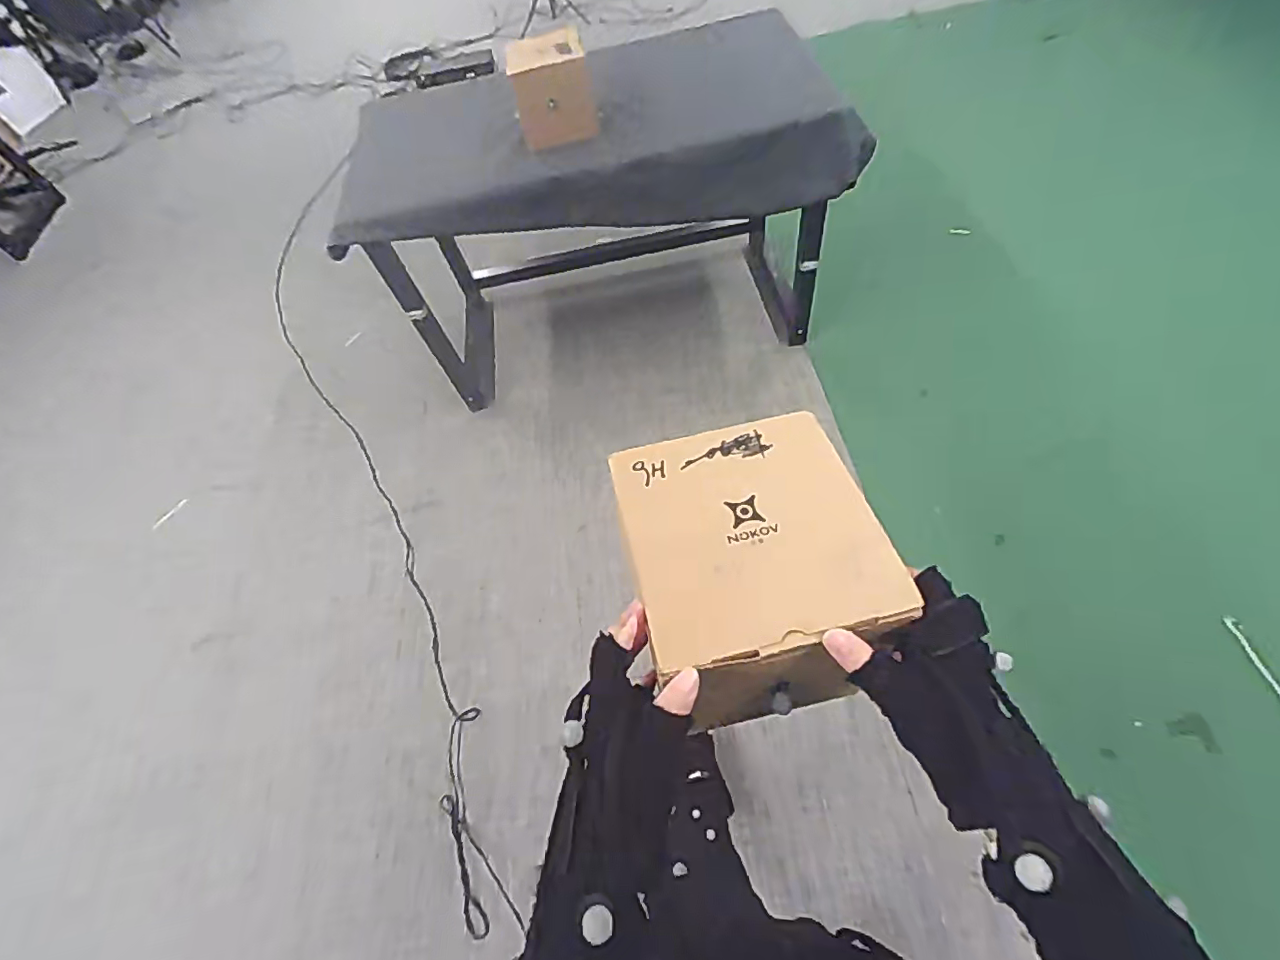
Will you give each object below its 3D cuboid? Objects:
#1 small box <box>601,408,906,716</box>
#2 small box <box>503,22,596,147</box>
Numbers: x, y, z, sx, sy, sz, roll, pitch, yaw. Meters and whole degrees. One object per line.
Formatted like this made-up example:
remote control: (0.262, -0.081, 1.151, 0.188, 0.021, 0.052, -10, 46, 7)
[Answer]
small box: (0.073, 0.075, 0.432, 0.168, 0.176, 0.179, -12, 55, -4)
small box: (-0.204, -0.913, 1.254, 0.179, 0.176, 0.168, -14, 58, -1)
